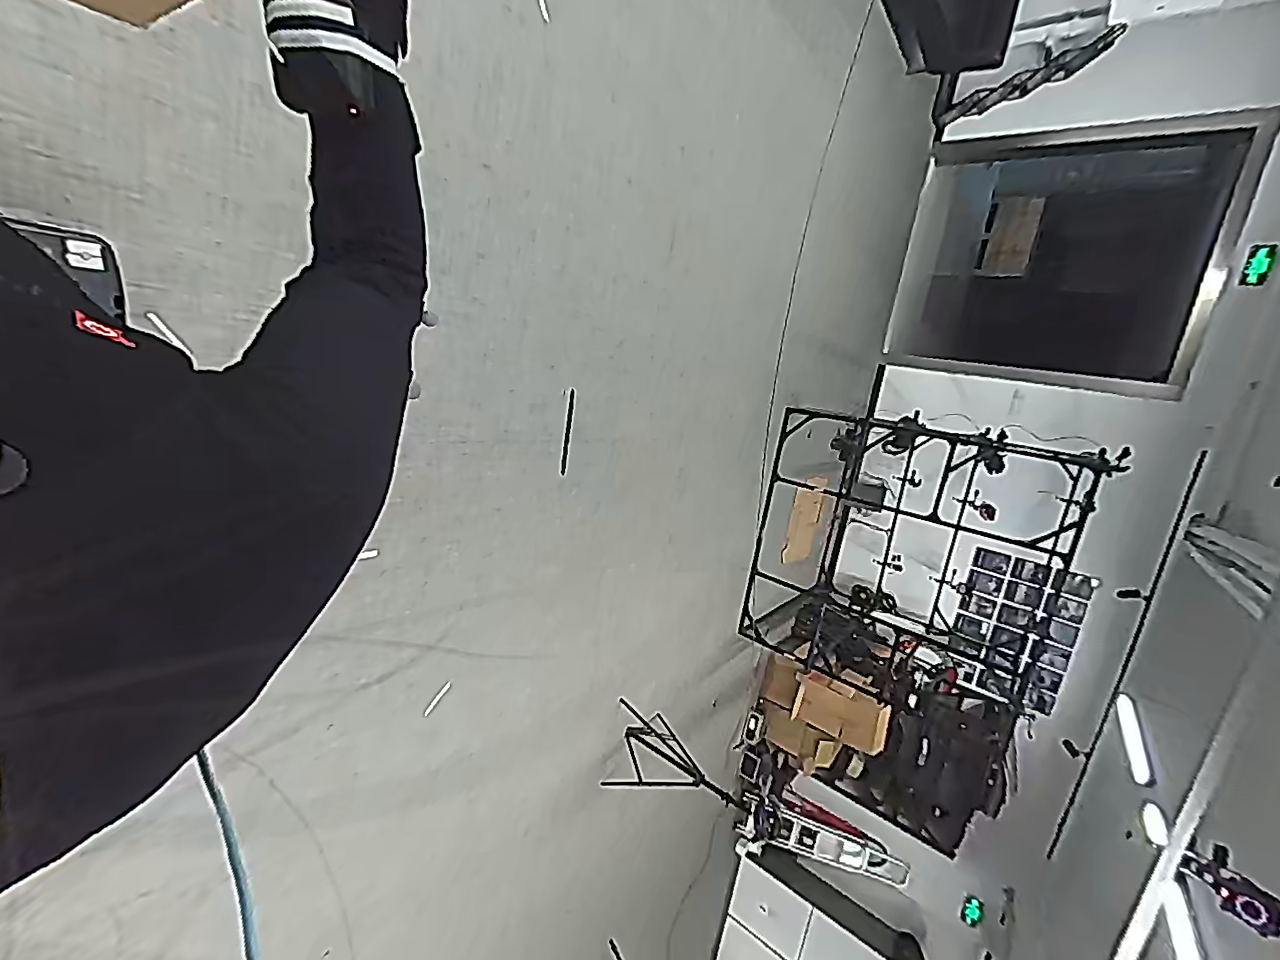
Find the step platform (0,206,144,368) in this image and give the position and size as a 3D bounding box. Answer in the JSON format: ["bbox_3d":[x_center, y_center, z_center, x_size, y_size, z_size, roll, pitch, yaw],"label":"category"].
[{"bbox_3d":[-1.288,-0.352,0.900,0.684,0.204,0.286,-10,113,-53],"label":"step platform"}]
